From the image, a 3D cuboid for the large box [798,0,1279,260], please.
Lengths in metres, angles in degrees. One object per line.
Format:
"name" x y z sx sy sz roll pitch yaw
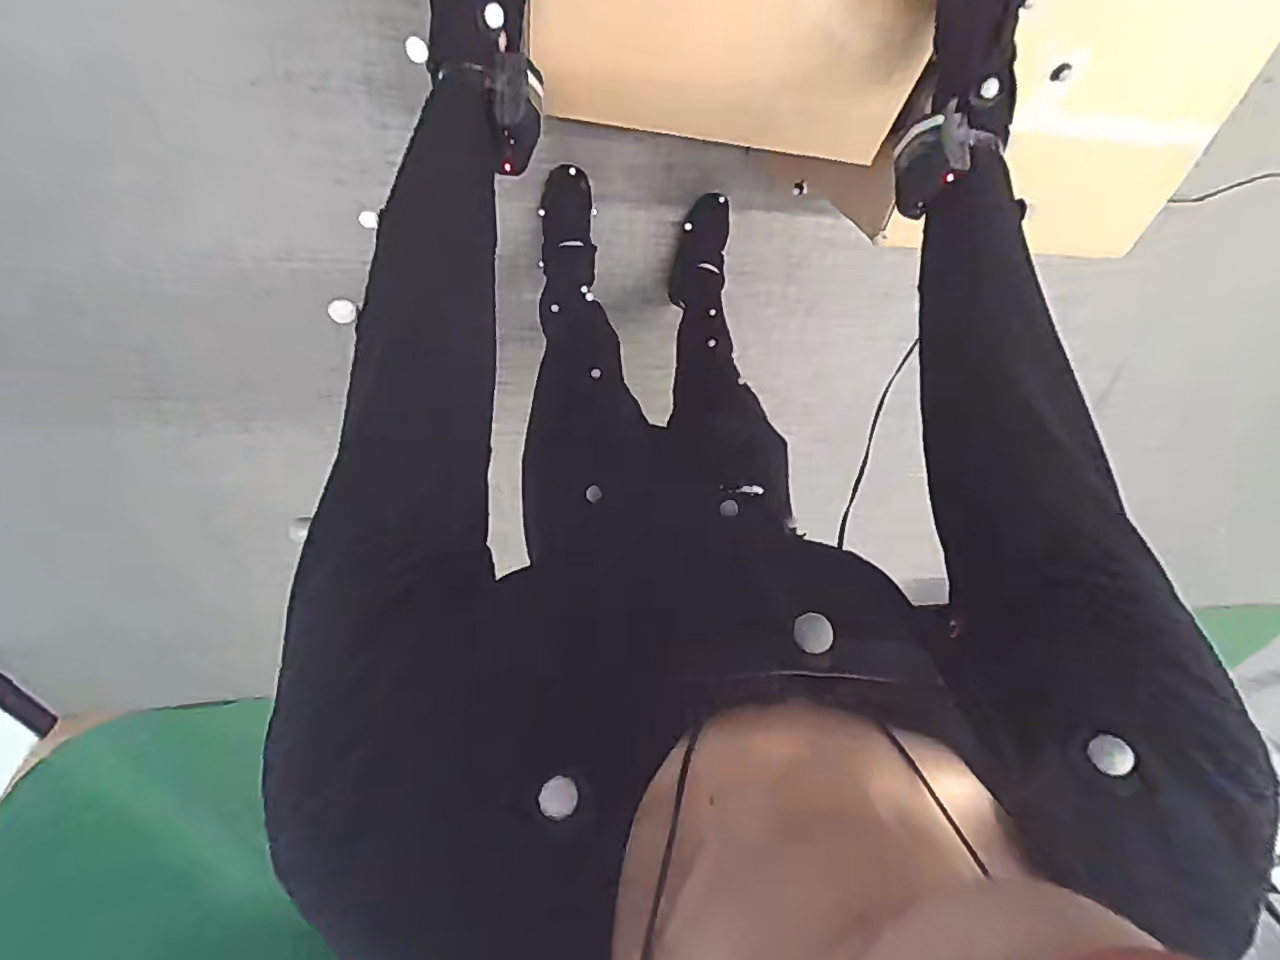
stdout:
"large box" 0.498 -0.528 0.757 0.408 0.320 0.320 -1 133 -9
